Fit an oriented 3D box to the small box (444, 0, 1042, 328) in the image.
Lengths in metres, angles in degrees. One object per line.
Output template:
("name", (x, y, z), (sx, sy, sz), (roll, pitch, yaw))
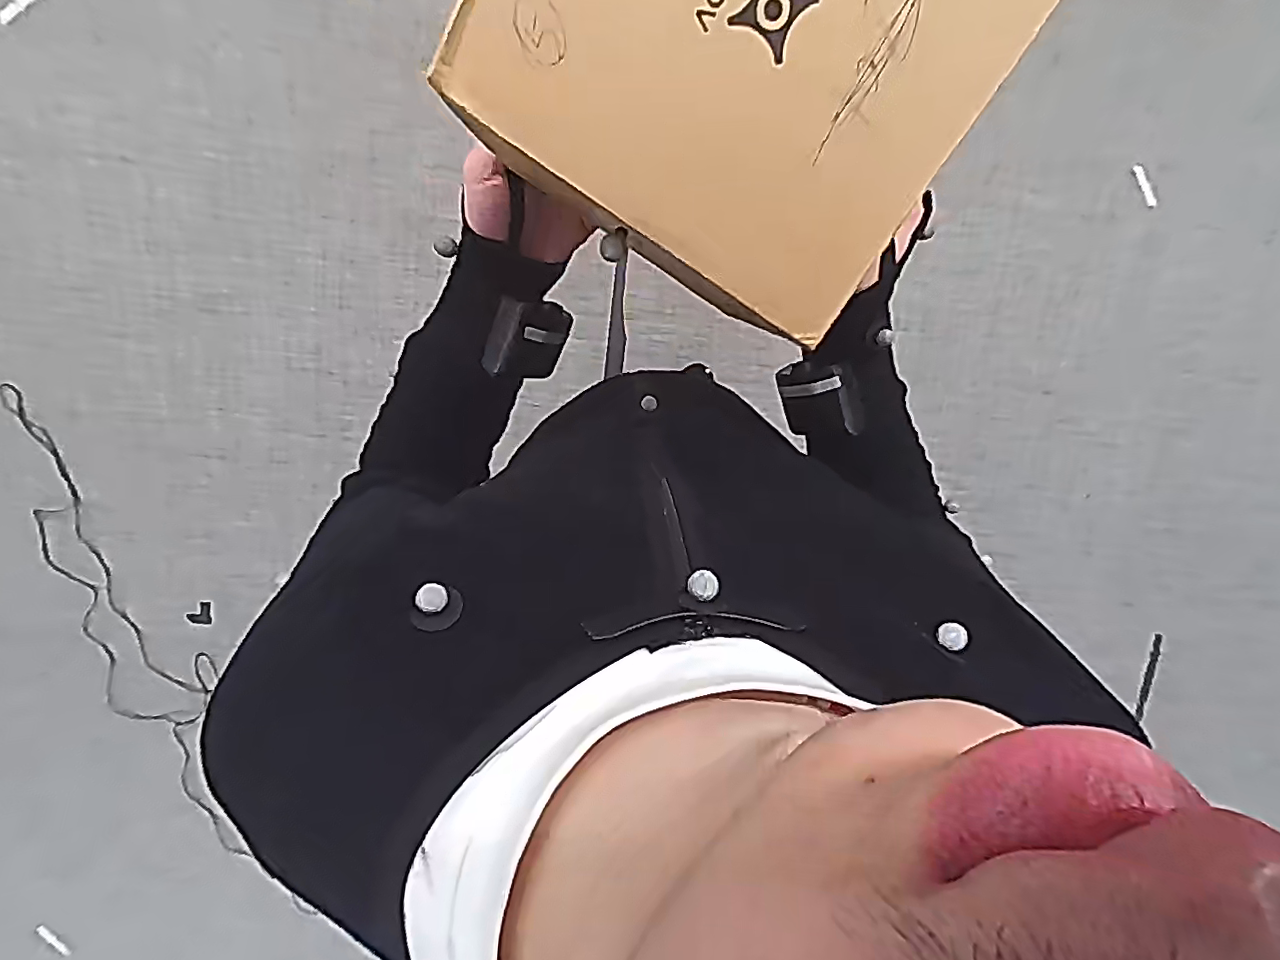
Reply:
("small box", (0.038, -0.197, 0.268), (0.179, 0.176, 0.168), (29, 108, -14))
